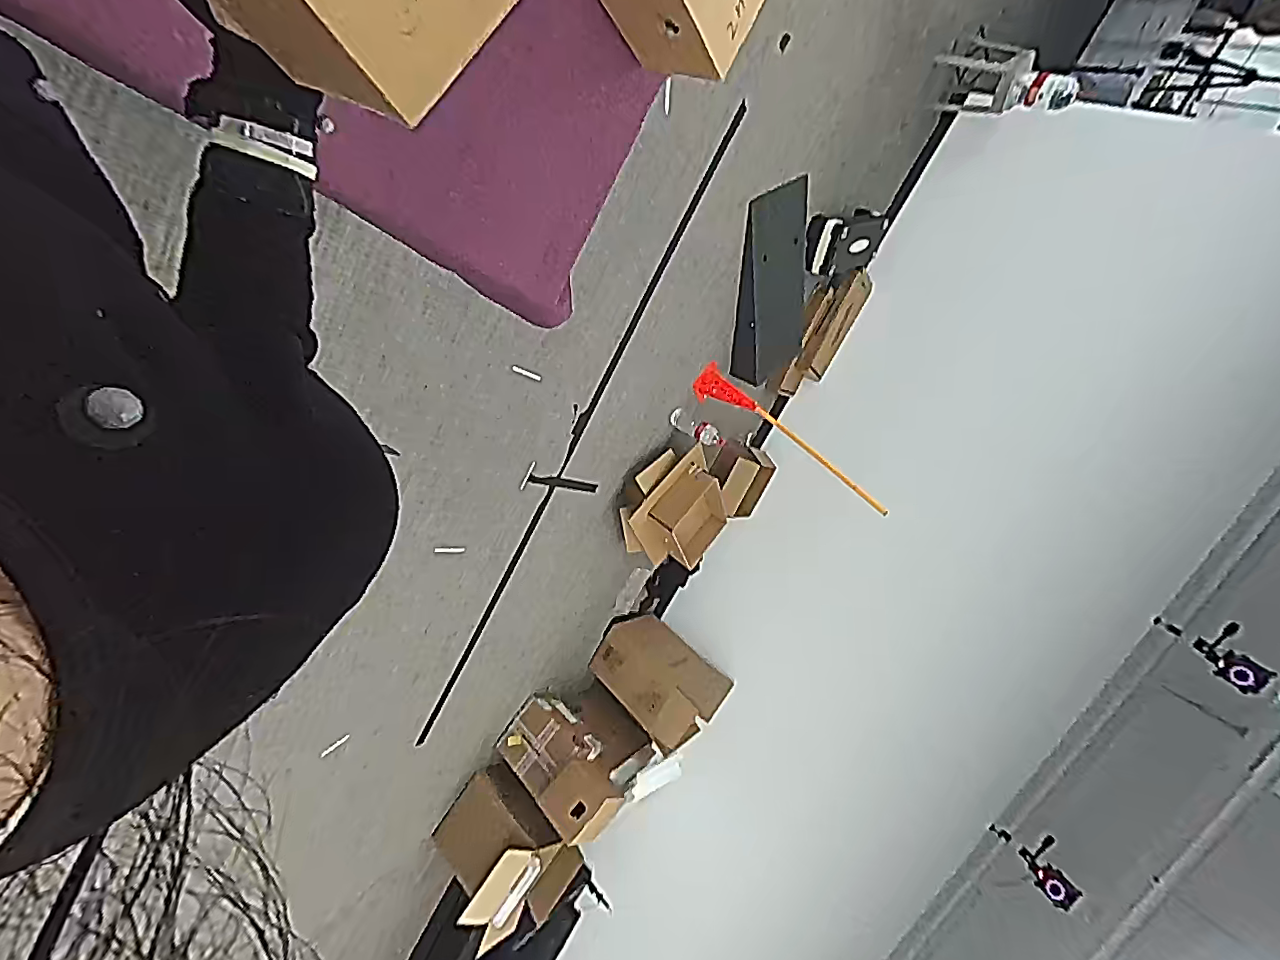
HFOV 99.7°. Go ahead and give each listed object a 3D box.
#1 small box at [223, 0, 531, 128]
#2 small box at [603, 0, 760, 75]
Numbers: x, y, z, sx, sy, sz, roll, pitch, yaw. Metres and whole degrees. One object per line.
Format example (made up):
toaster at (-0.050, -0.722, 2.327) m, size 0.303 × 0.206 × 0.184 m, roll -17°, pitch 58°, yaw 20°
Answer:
small box at (-0.154, -0.321, 0.267) m, size 0.179 × 0.176 × 0.168 m, roll -53°, pitch 150°, yaw -3°
small box at (0.057, -0.721, 0.761) m, size 0.168 × 0.176 × 0.179 m, roll -60°, pitch 152°, yaw 10°
